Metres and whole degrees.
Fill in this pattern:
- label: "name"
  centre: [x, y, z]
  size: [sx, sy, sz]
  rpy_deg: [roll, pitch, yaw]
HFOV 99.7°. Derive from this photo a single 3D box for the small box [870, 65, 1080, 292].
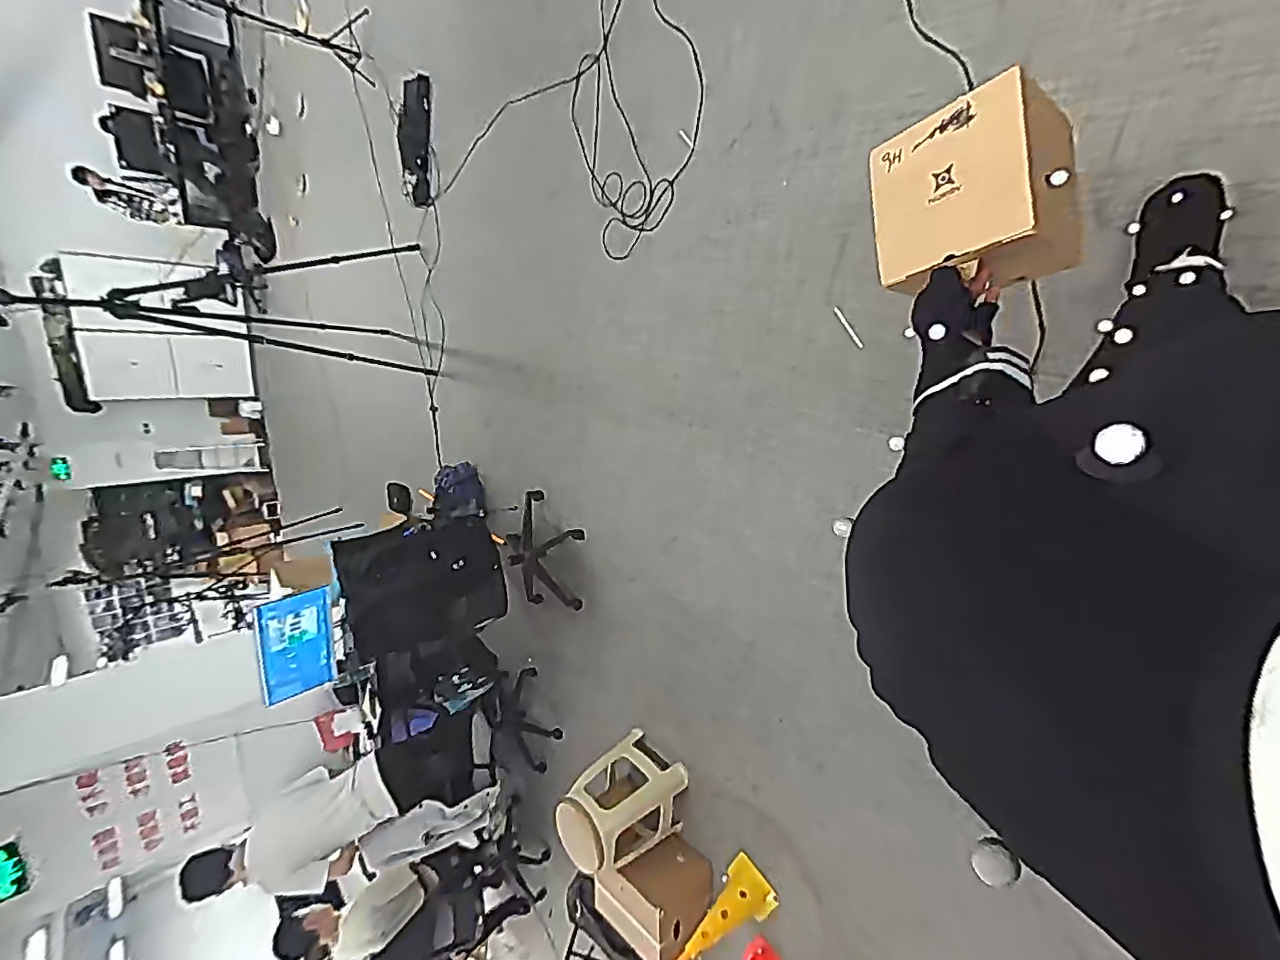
- label: "small box"
  centre: [0.410, -0.344, 0.663]
  size: [0.168, 0.176, 0.179]
  rpy_deg: [-6, 88, 53]
